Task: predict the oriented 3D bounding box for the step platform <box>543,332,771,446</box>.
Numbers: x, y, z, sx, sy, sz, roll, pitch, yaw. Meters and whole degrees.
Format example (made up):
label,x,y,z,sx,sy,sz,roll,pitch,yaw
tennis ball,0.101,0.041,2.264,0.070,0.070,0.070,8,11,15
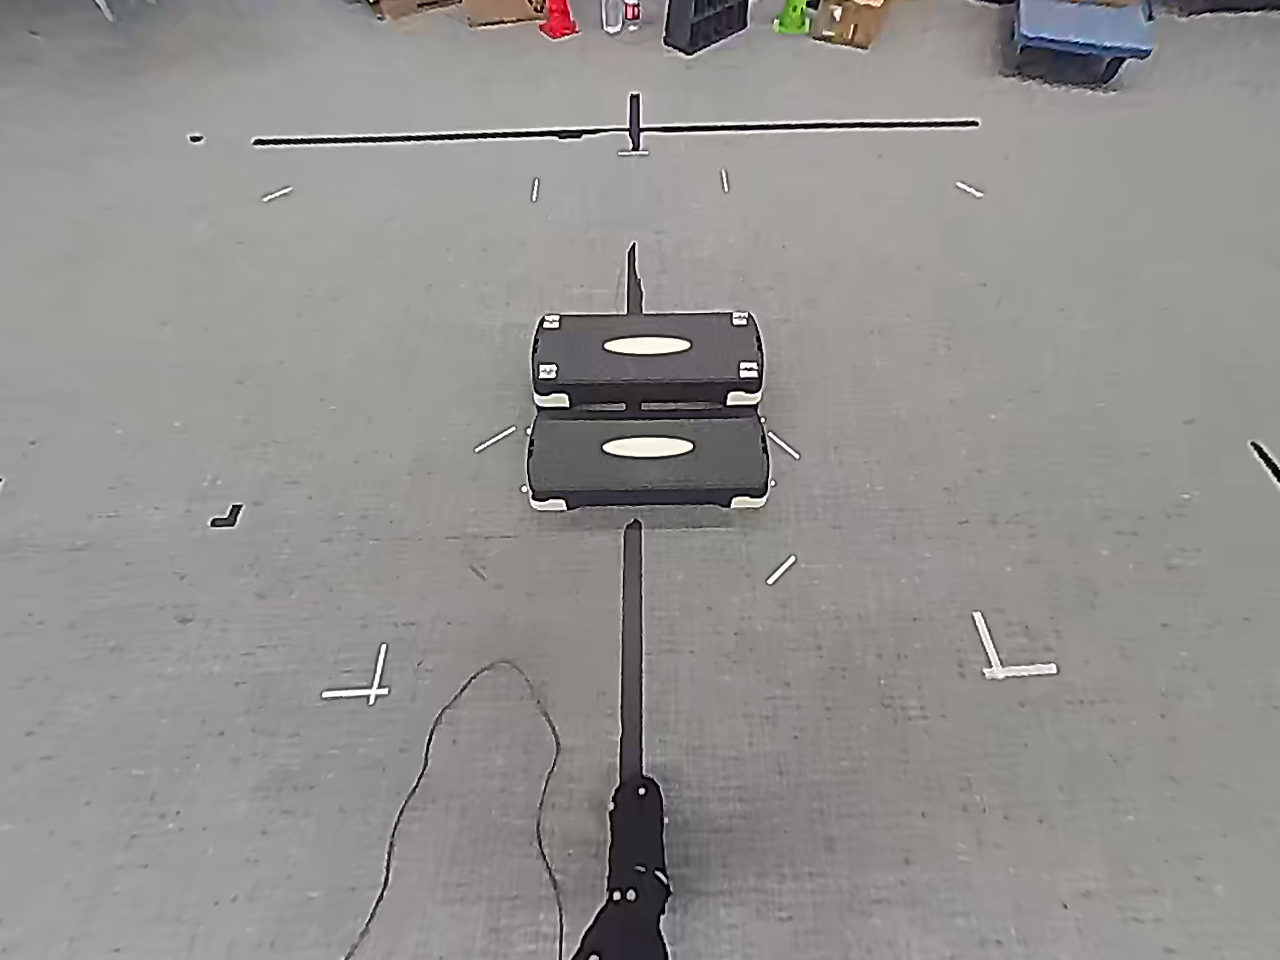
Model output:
label,x,y,z,sx,sy,sz,roll,pitch,yaw
step platform,0.049,-0.282,1.650,0.684,0.204,0.286,3,58,2
